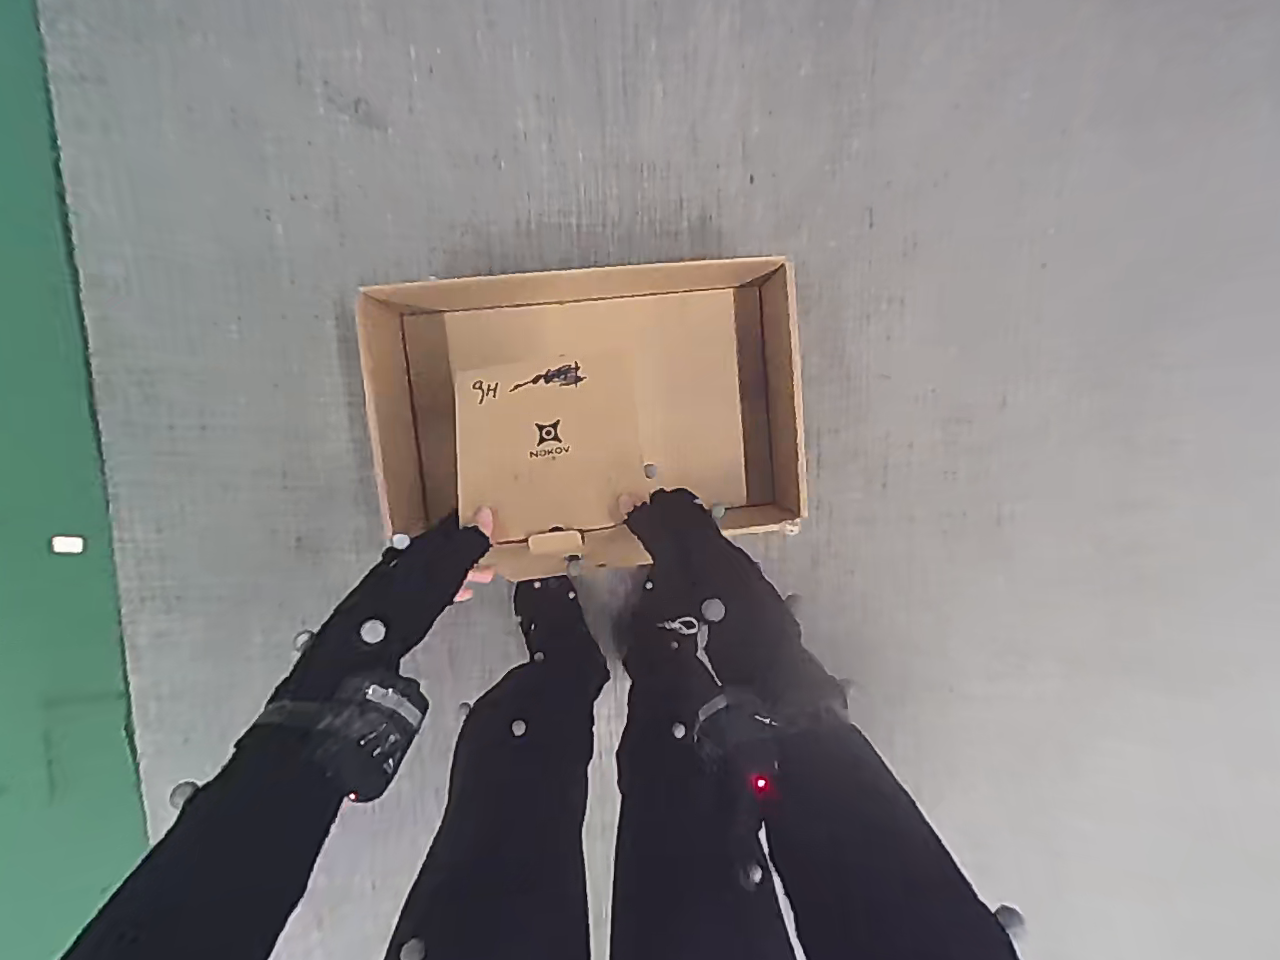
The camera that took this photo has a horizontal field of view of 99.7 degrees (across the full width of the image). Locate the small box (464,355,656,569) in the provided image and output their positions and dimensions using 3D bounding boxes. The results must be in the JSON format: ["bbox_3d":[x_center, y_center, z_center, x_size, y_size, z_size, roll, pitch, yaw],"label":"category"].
[{"bbox_3d":[-0.076,-0.006,0.577,0.168,0.176,0.179,-8,71,1],"label":"small box"}]
